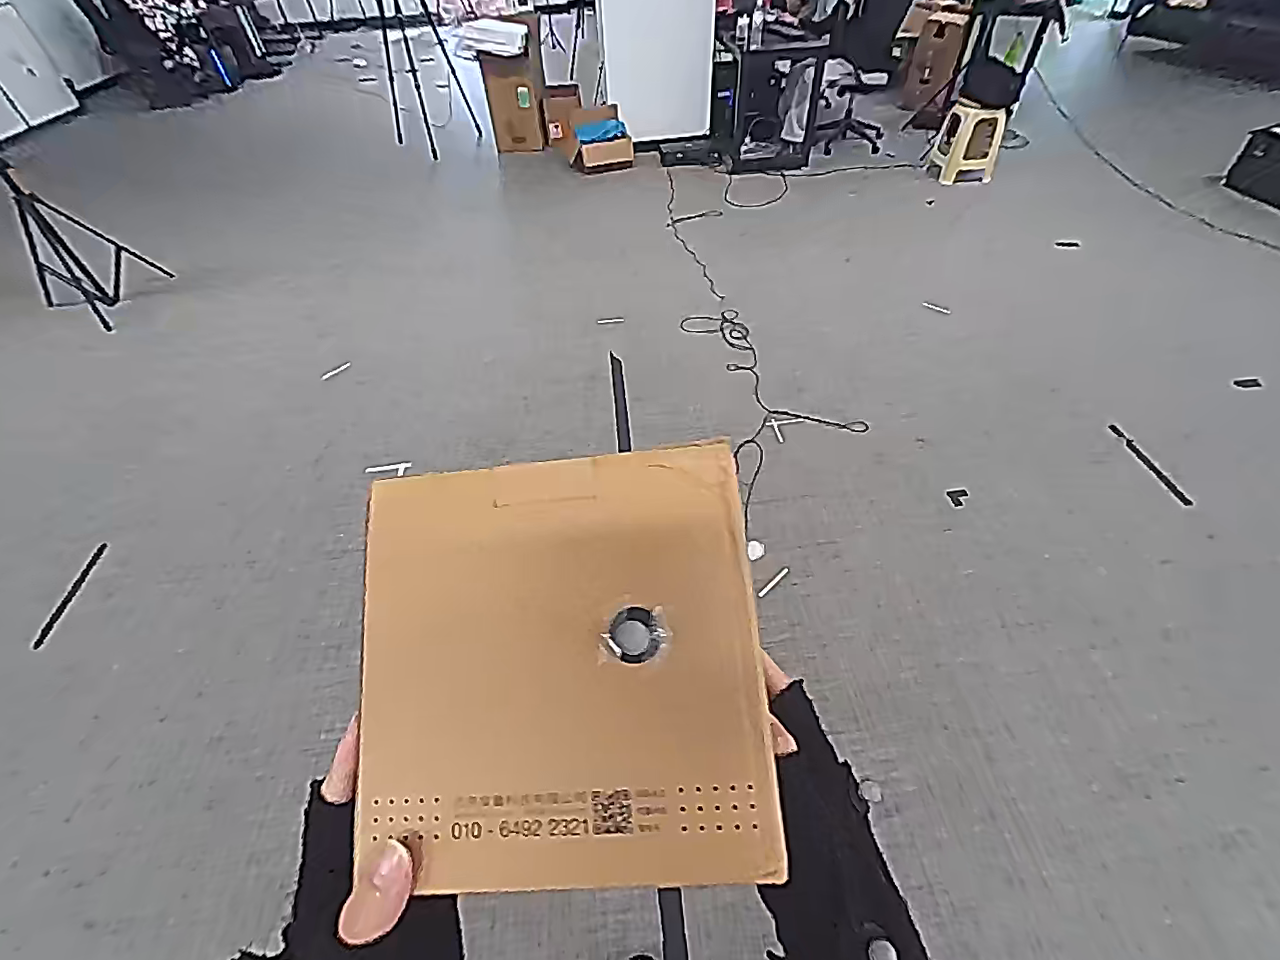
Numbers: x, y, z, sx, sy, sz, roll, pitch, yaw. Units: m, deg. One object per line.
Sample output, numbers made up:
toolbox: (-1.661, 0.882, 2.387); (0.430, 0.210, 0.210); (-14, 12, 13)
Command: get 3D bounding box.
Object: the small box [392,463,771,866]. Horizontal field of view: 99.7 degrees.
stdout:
small box: (-0.022, 0.099, 0.318); (0.168, 0.179, 0.176); (-5, 77, 6)
